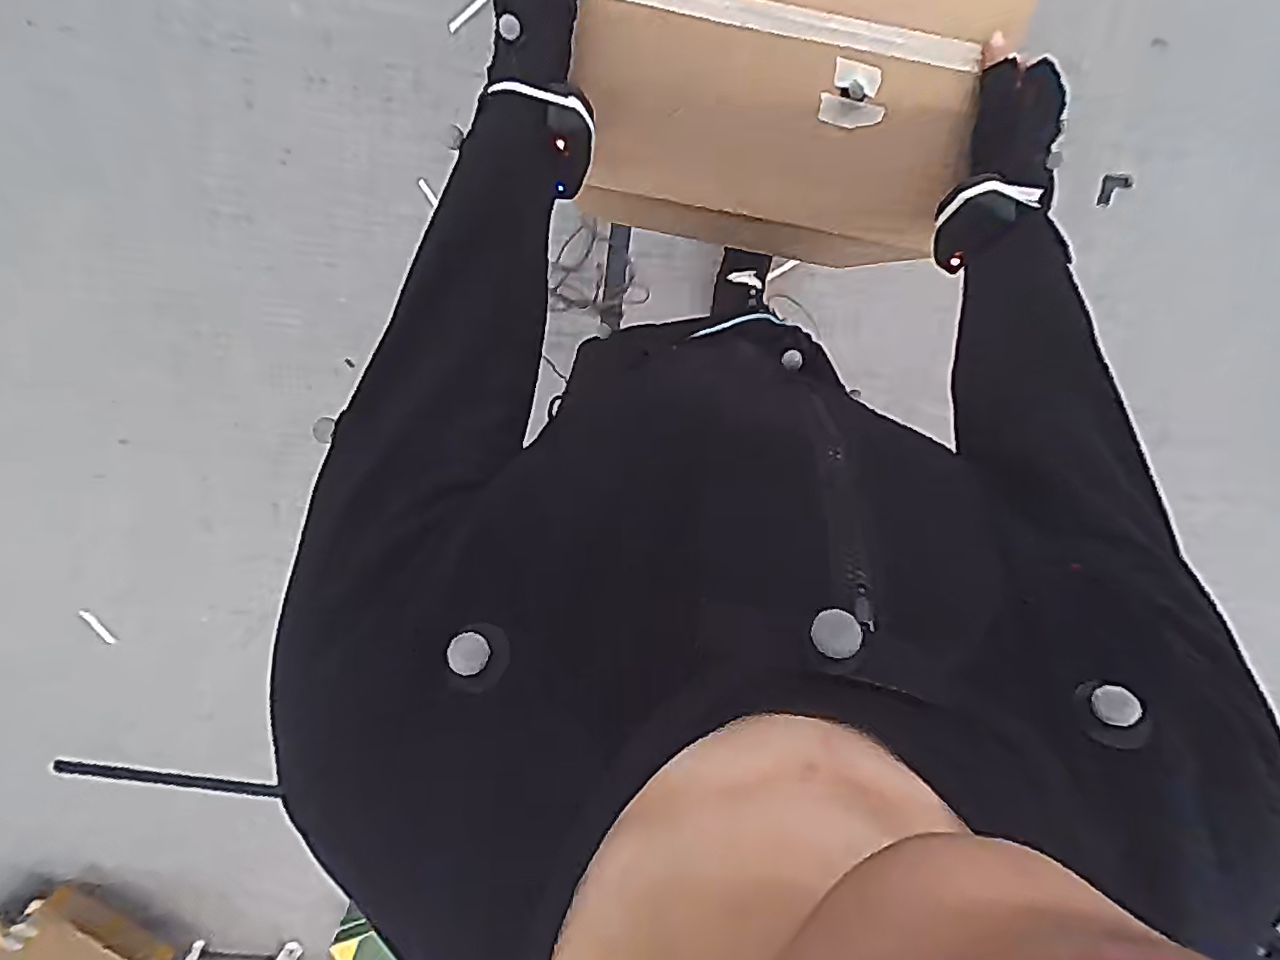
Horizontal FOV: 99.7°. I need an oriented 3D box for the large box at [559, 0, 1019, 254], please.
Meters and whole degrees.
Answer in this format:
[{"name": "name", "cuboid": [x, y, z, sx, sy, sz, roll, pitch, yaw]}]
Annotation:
[{"name": "large box", "cuboid": [0.134, -0.465, 0.630, 0.408, 0.320, 0.320, 9, 110, -4]}]
